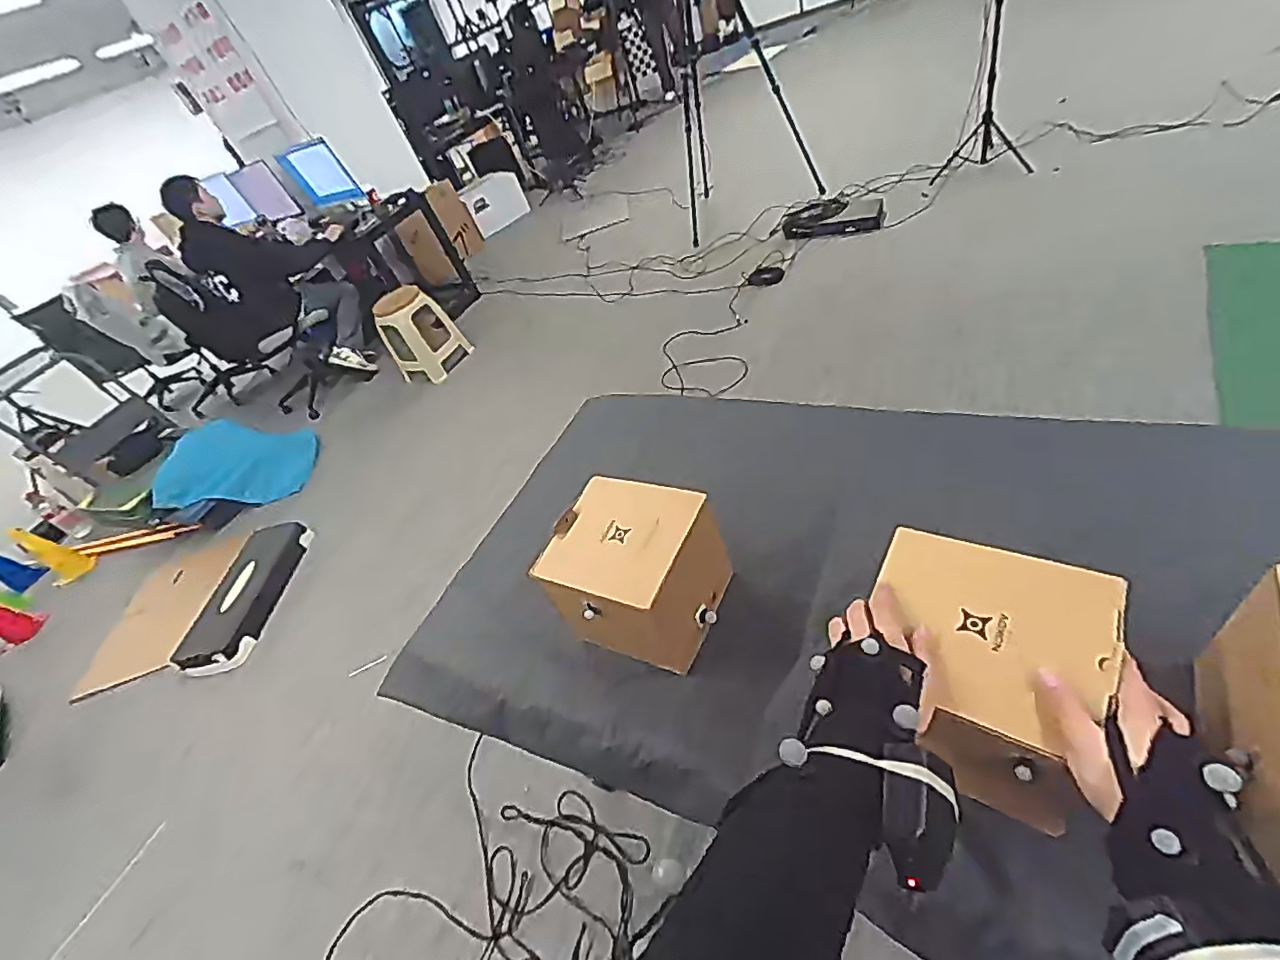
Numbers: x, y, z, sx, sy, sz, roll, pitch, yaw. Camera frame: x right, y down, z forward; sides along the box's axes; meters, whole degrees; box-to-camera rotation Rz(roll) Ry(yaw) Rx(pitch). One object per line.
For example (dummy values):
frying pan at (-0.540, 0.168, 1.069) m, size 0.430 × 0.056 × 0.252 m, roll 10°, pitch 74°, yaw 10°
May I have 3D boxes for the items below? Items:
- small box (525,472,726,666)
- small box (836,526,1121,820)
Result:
small box at (-0.008, 0.114, 0.697) m, size 0.179 × 0.176 × 0.168 m, roll 10°, pitch 53°, yaw 31°
small box at (0.299, 0.173, 0.496) m, size 0.179 × 0.176 × 0.168 m, roll 15°, pitch 54°, yaw 35°
